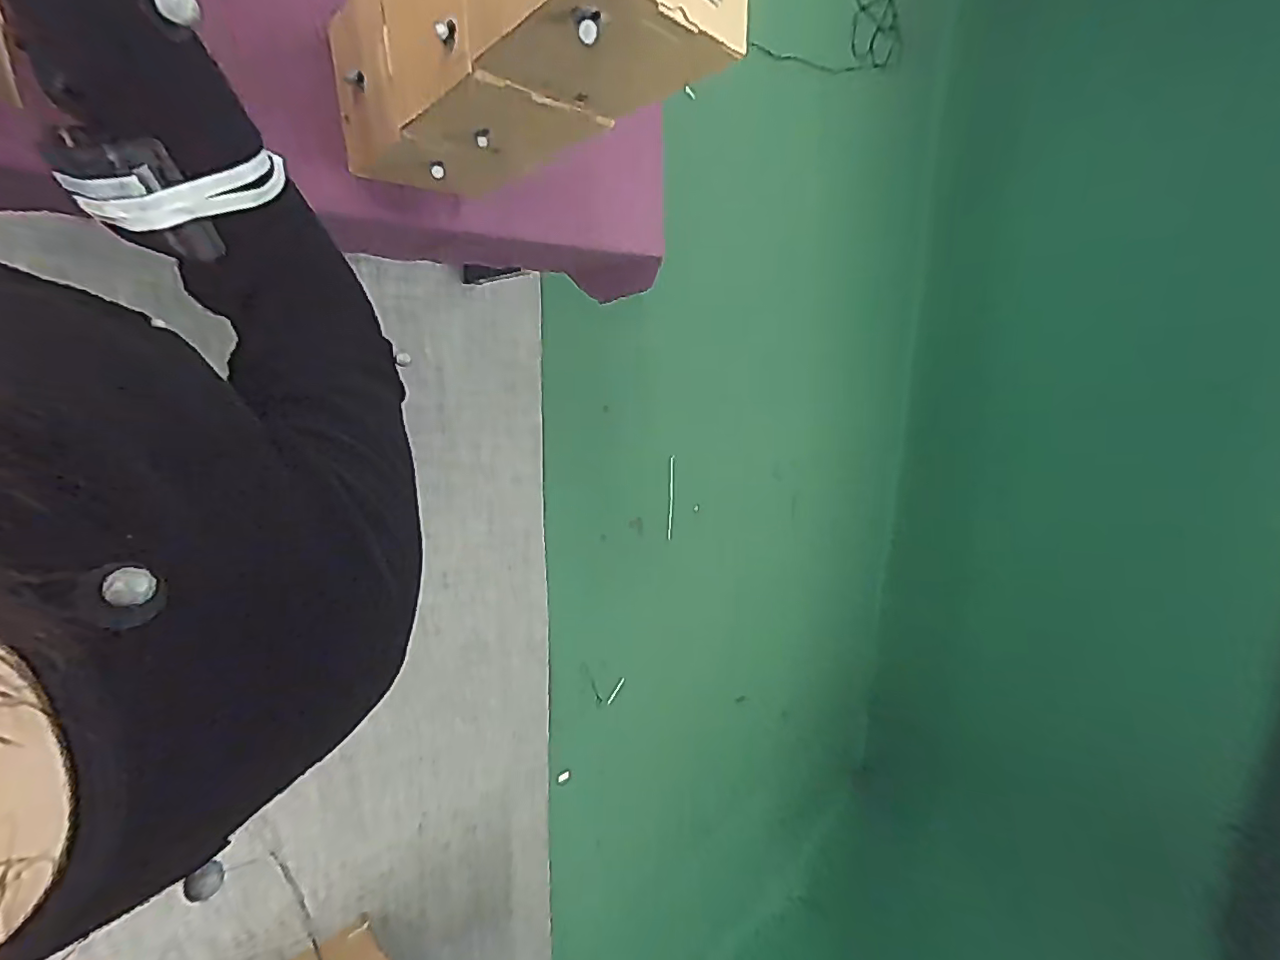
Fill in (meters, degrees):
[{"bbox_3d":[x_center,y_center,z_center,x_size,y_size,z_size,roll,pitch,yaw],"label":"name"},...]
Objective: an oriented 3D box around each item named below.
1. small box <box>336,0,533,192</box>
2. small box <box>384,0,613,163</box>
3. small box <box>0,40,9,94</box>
[{"bbox_3d":[-0.257,-0.473,0.669,0.179,0.176,0.168,-15,109,-42],"label":"small box"},{"bbox_3d":[-0.145,-0.455,0.551,0.168,0.176,0.179,-14,109,-43],"label":"small box"},{"bbox_3d":[-0.576,-0.400,0.365,0.168,0.176,0.179,-14,108,-43],"label":"small box"}]
